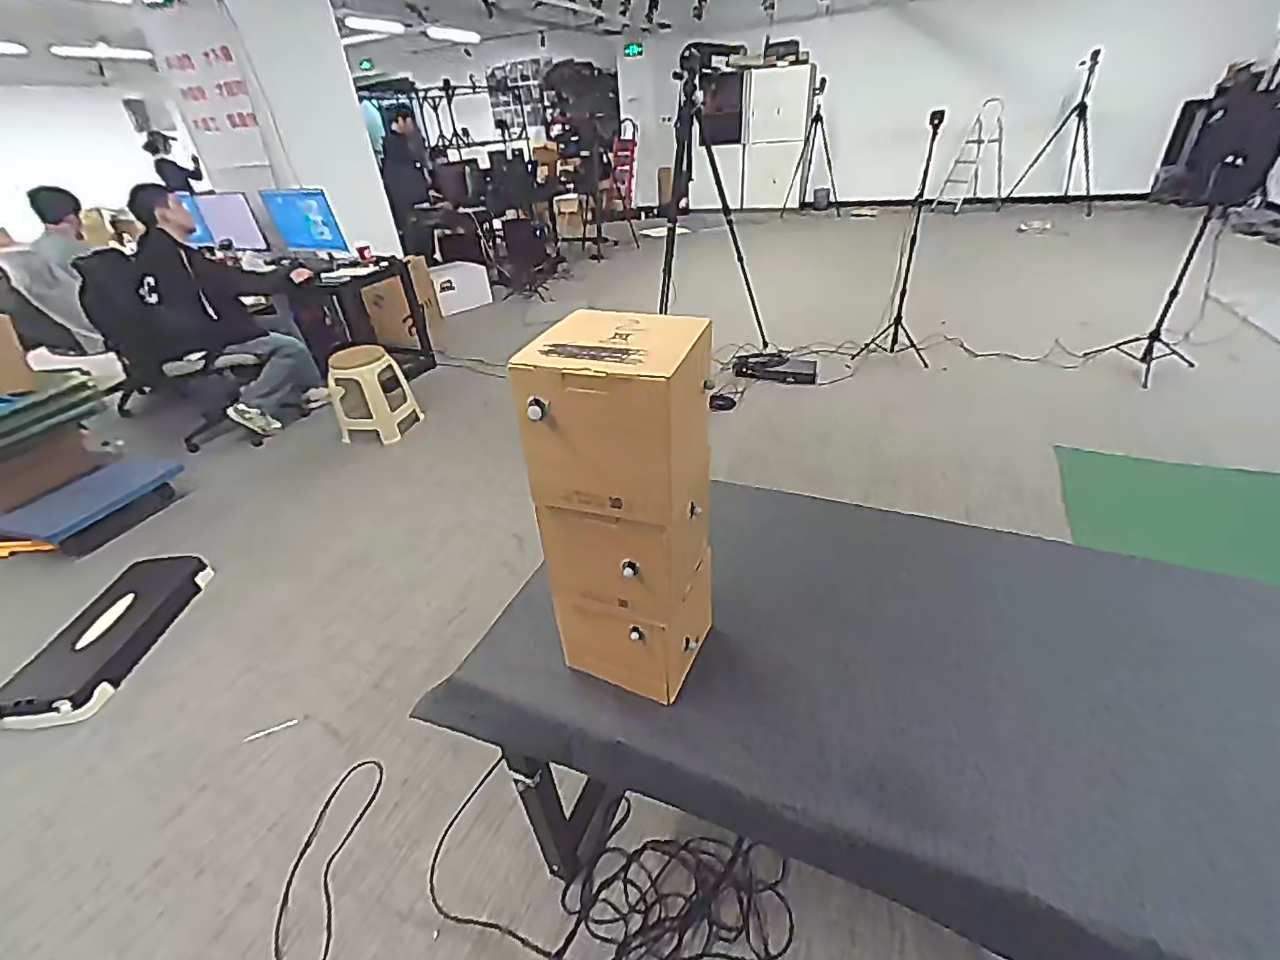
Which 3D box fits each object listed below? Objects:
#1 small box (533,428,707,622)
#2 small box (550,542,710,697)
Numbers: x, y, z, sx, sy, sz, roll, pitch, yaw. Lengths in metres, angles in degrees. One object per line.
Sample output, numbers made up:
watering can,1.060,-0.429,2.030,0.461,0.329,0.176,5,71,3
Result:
small box,-0.014,0.054,0.699,0.168,0.176,0.179,11,35,18
small box,-0.006,0.185,0.795,0.179,0.176,0.168,13,37,24
